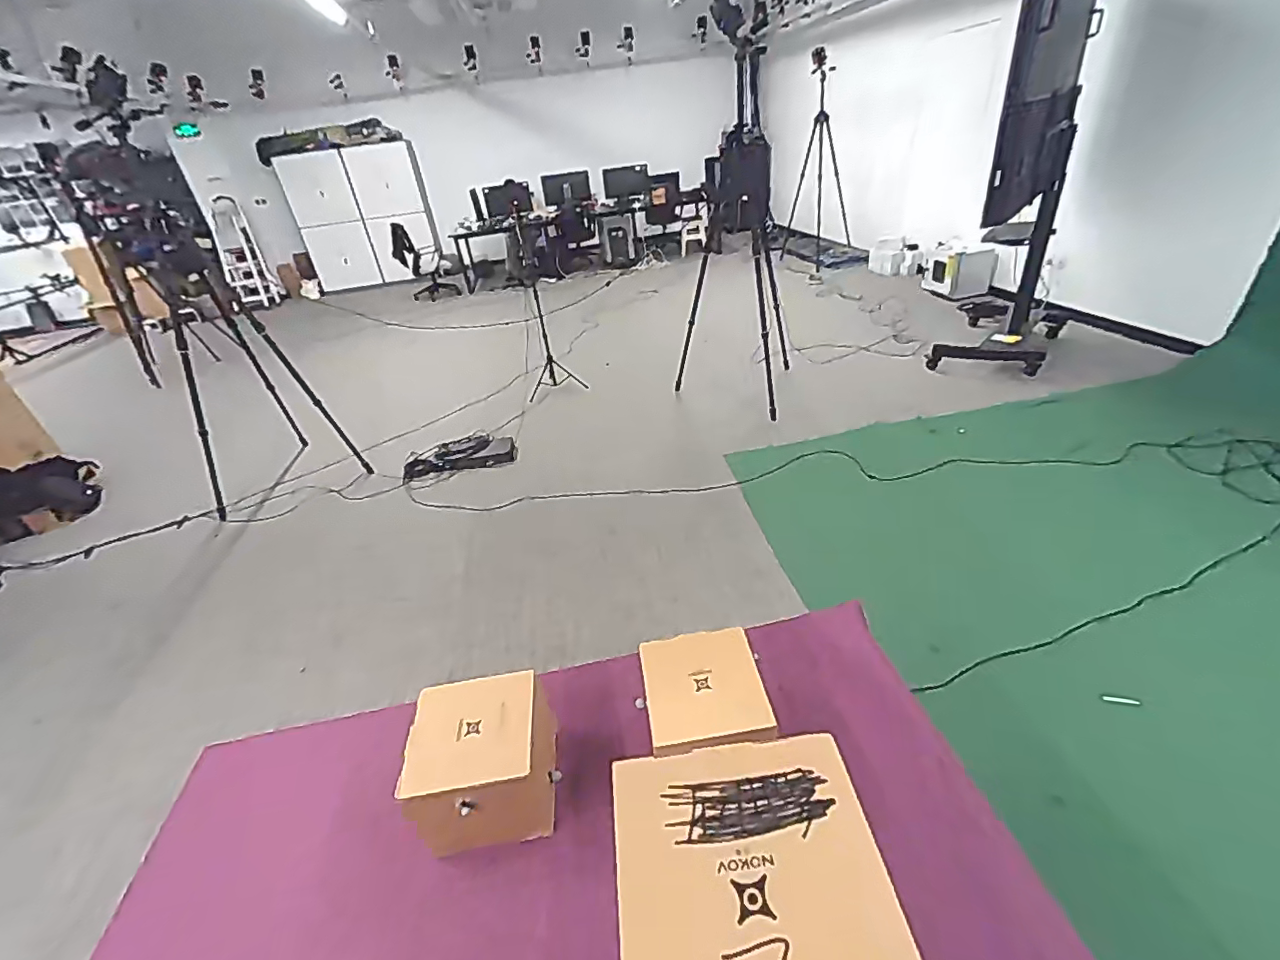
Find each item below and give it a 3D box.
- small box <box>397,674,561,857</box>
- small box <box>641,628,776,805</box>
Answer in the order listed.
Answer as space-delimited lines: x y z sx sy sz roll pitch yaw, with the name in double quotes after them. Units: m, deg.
-0.221 0.419 0.794 0.179 0.176 0.168 -9 33 -2 "small box"
0.101 0.357 0.812 0.168 0.176 0.179 -10 31 -1 "small box"
